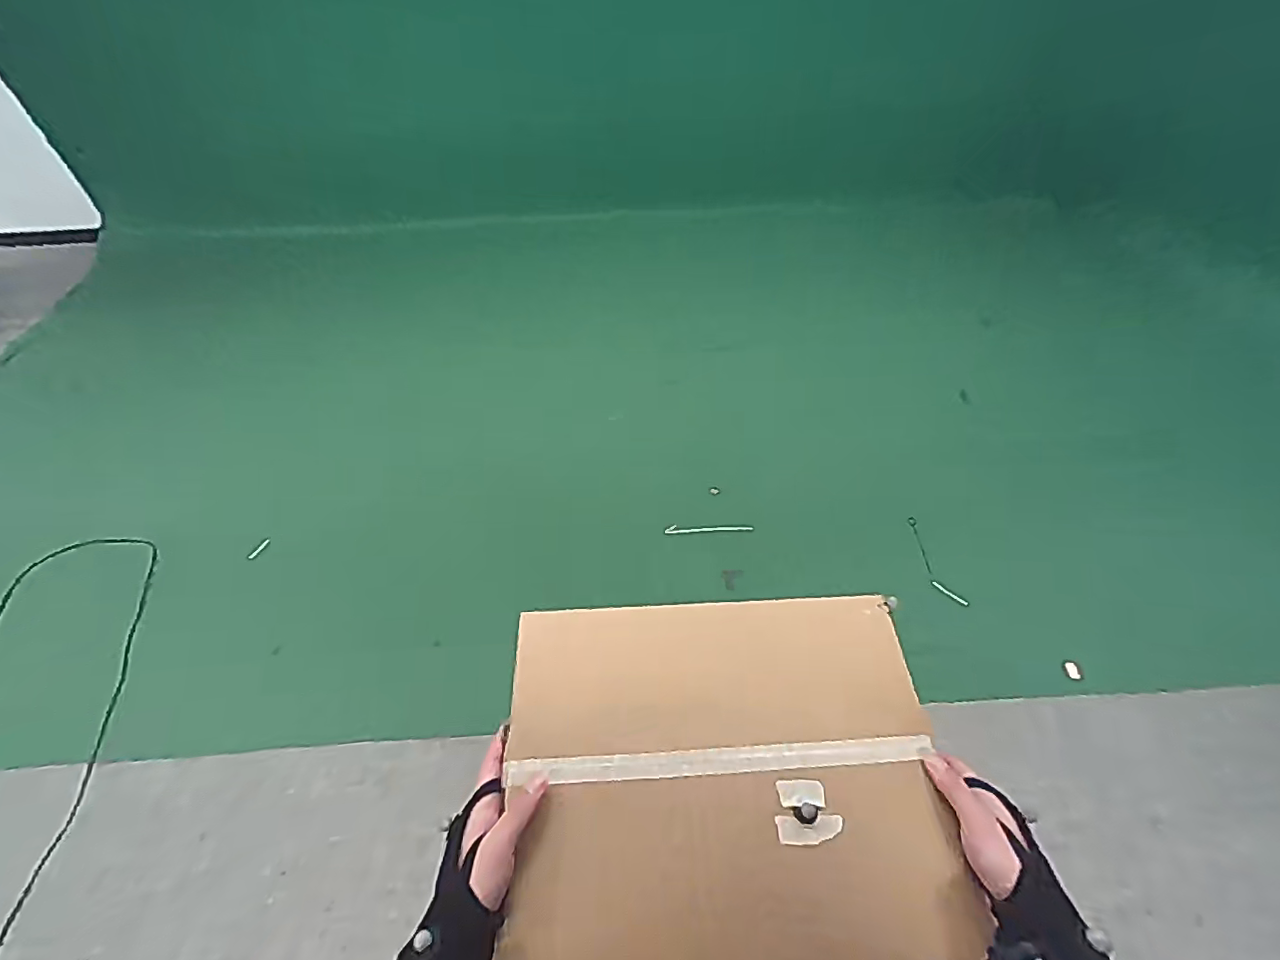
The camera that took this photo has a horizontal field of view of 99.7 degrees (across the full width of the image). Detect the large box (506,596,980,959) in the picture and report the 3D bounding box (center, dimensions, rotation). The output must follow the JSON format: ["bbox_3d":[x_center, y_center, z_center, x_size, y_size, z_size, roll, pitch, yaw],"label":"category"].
[{"bbox_3d":[0.075,0.355,0.645,0.408,0.320,0.320,-2,55,-2],"label":"large box"}]
